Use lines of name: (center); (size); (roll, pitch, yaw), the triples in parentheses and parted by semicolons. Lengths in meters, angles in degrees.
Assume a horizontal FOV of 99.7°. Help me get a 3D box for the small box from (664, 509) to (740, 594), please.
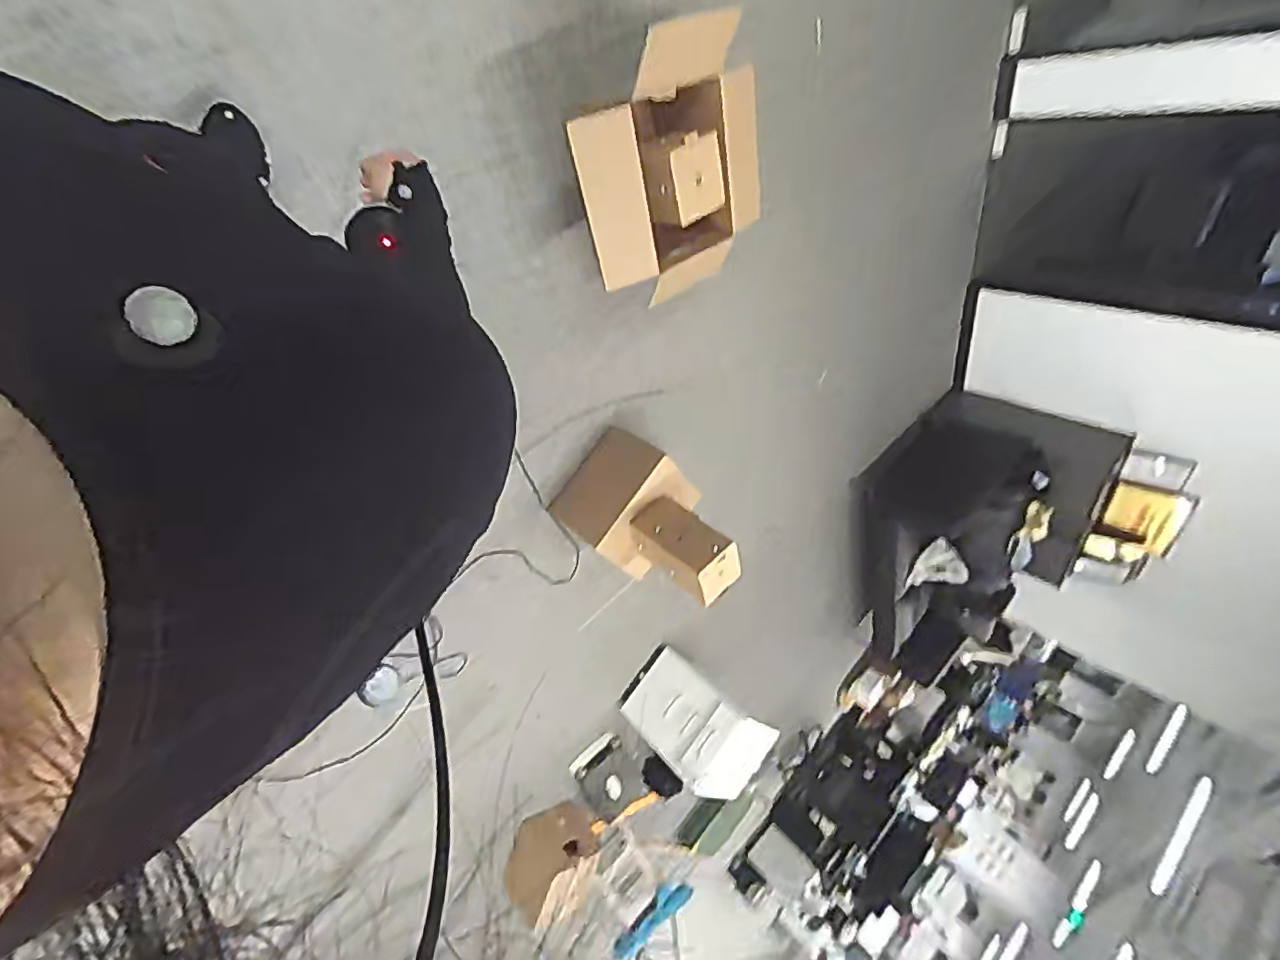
small box: (0.203, 0.226, 1.754); (0.168, 0.176, 0.179); (-39, 137, -21)

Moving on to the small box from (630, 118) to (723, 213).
small box: (0.095, -0.836, 1.440); (0.168, 0.176, 0.179); (-37, 135, -20)
